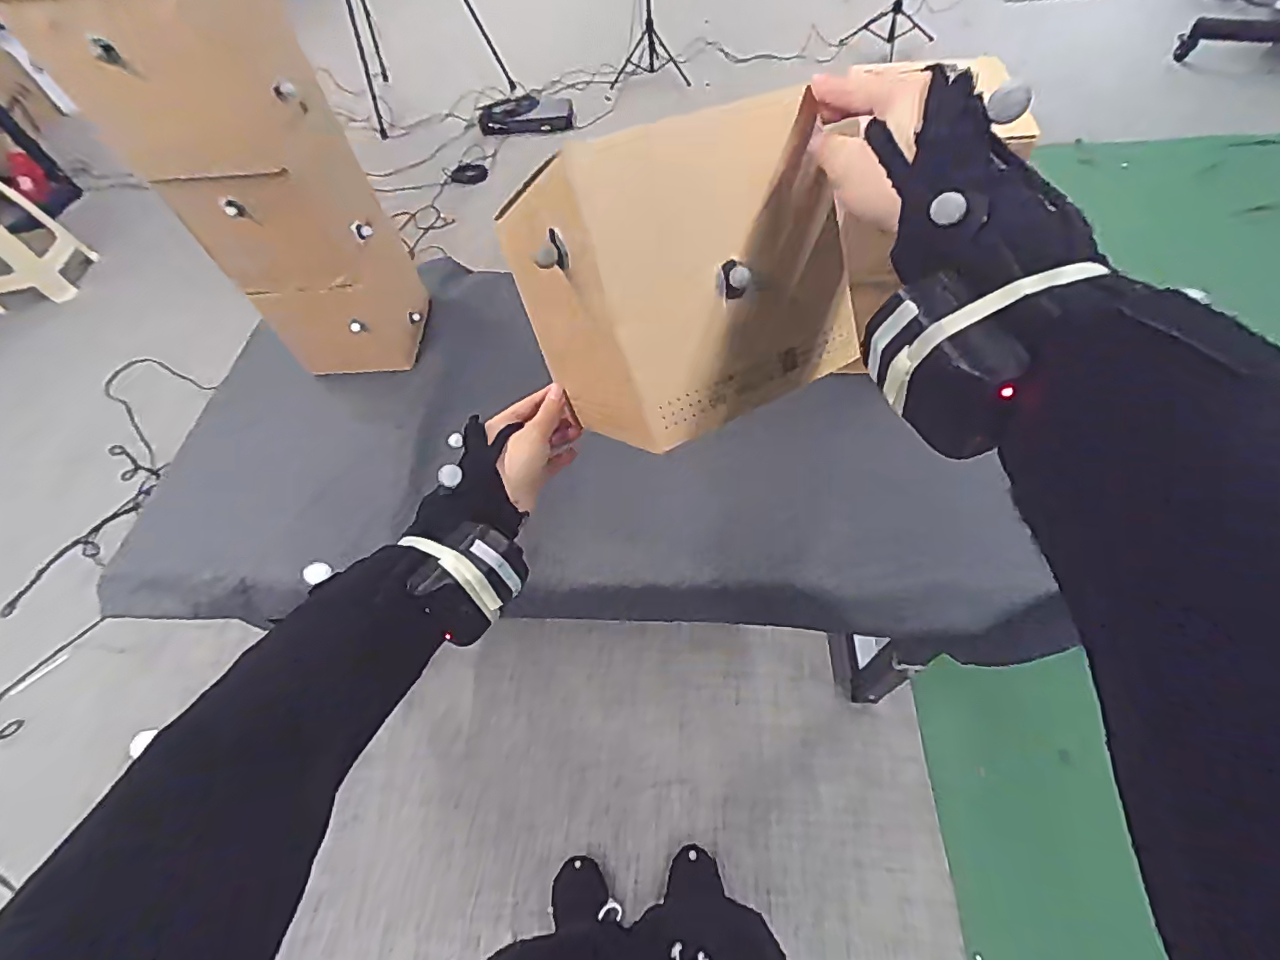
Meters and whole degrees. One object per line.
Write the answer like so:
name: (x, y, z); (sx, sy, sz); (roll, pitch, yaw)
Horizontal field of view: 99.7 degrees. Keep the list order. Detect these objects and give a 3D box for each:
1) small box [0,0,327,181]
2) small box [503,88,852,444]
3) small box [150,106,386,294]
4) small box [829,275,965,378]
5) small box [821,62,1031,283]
small box: (-0.490, -0.450, 0.589); (0.179, 0.176, 0.168); (-1, 59, 4)
small box: (0.024, -0.137, 0.389); (0.168, 0.176, 0.179); (-25, 21, -19)
small box: (-0.481, -0.371, 0.733); (0.179, 0.176, 0.168); (-3, 59, 2)
small box: (0.333, -0.271, 0.782); (0.168, 0.176, 0.179); (2, 59, 7)
small box: (0.315, -0.354, 0.642); (0.168, 0.176, 0.179); (2, 59, 7)
